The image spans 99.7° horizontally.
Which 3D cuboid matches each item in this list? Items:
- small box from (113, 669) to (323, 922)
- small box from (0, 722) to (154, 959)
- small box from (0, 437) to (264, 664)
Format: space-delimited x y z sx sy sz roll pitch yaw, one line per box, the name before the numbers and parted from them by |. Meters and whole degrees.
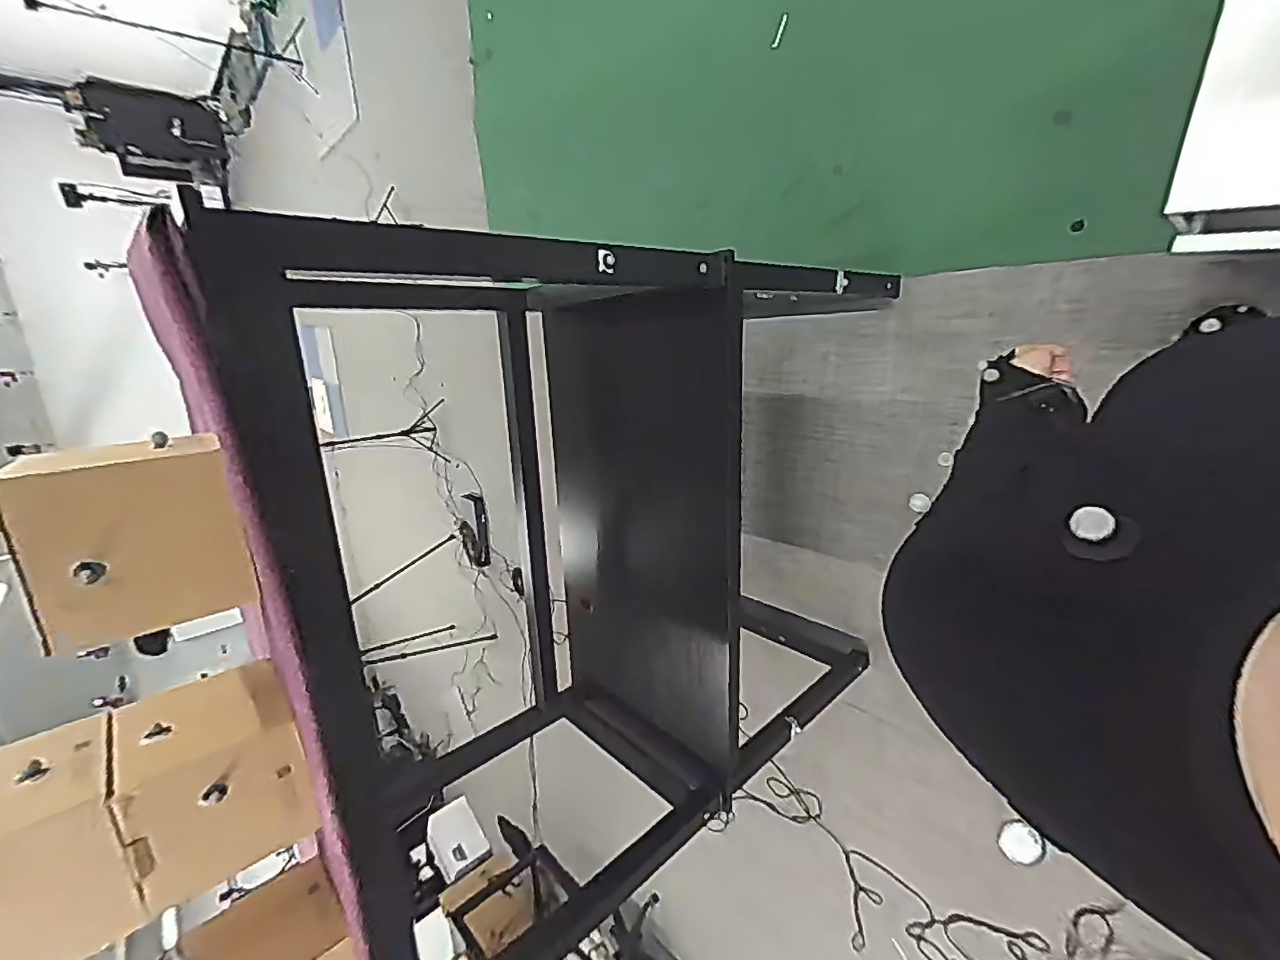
small box | -0.506 0.362 0.662 0.179 0.176 0.168 16 113 46
small box | -0.628 0.395 0.557 0.168 0.176 0.179 15 112 45
small box | -0.531 0.060 0.587 0.168 0.176 0.179 13 112 48
